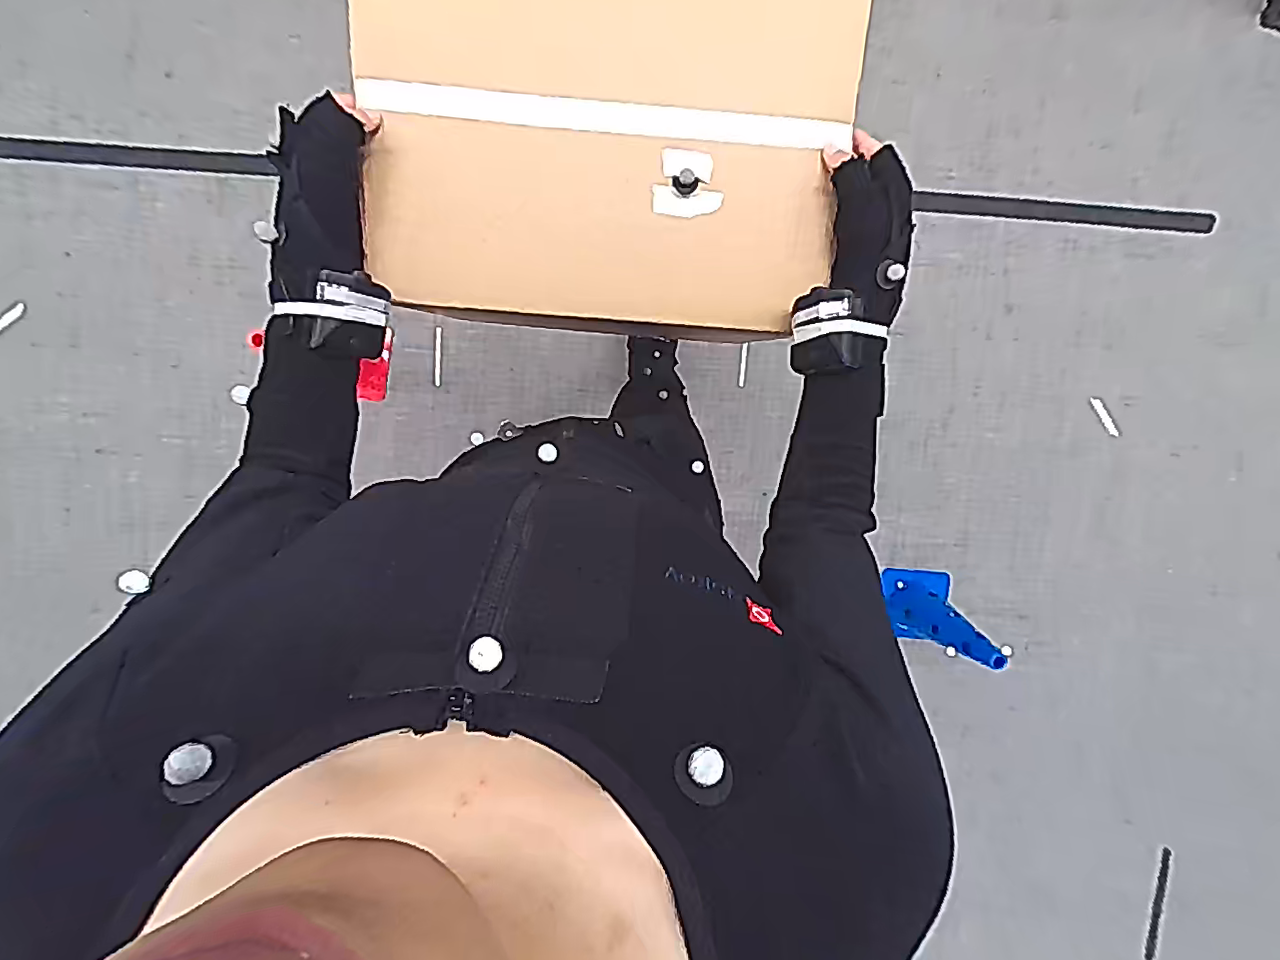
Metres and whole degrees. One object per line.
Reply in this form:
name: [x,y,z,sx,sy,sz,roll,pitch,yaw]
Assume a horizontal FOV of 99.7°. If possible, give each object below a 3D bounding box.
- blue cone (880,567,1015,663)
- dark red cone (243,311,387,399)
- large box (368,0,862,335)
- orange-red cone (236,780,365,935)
blue cone: [0.789,0.363,1.372,0.192,0.380,0.193,6,97,-4]
dark red cone: [-0.737,-0.296,1.203,0.201,0.394,0.202,9,97,-4]
large box: [-0.030,-0.336,0.595,0.408,0.320,0.320,3,103,-4]
orange-red cone: [-0.890,0.983,1.386,0.198,0.360,0.199,1,99,-1]
